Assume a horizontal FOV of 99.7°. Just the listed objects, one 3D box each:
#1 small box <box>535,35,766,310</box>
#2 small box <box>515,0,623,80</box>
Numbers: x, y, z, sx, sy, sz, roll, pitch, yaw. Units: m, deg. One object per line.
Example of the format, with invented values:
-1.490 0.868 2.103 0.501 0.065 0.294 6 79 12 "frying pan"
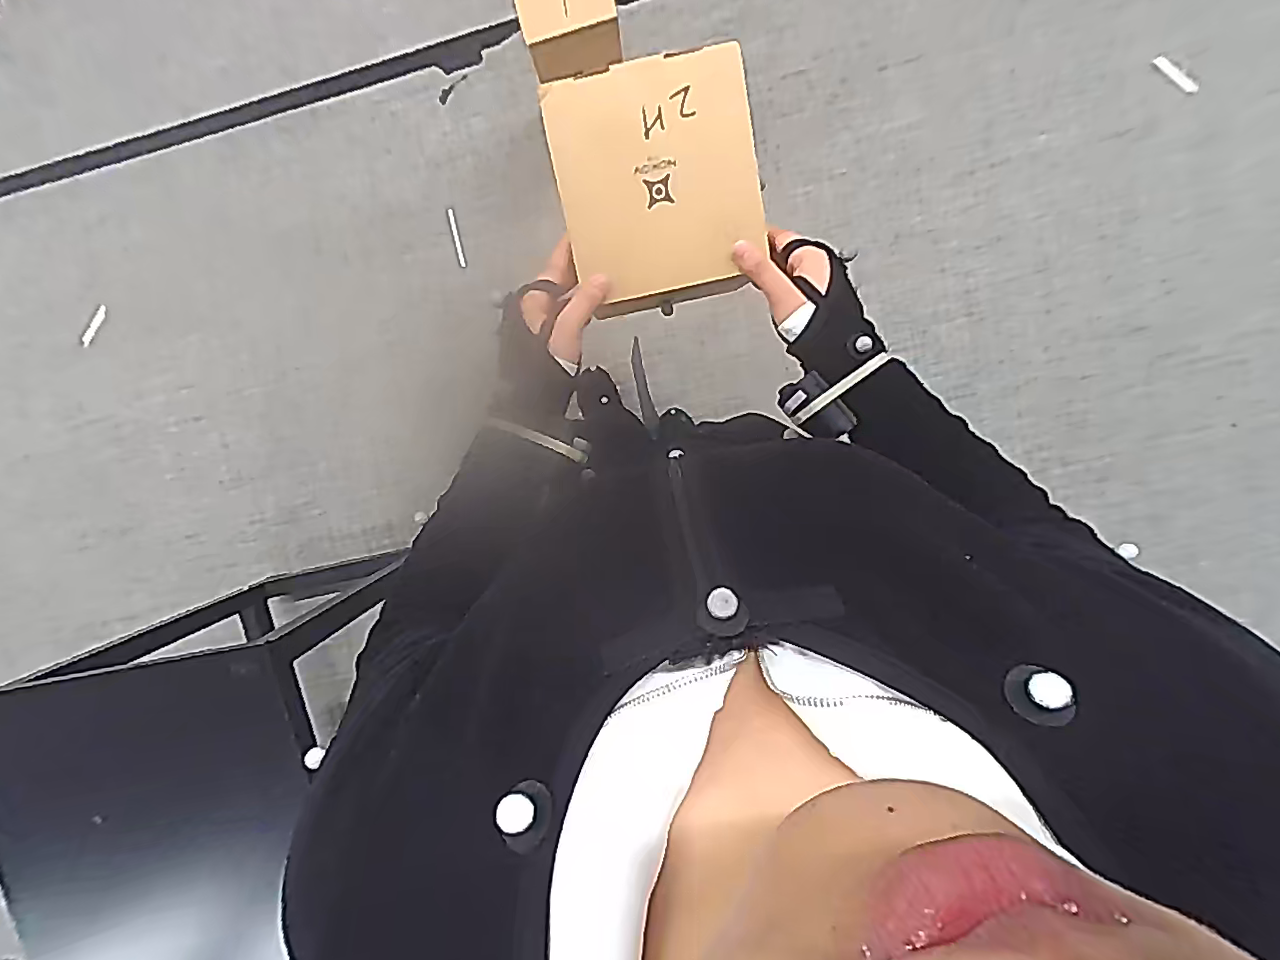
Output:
0.013 -0.268 0.522 0.168 0.176 0.179 -12 102 3 "small box"
-0.133 -0.850 0.987 0.168 0.176 0.179 -14 97 5 "small box"
